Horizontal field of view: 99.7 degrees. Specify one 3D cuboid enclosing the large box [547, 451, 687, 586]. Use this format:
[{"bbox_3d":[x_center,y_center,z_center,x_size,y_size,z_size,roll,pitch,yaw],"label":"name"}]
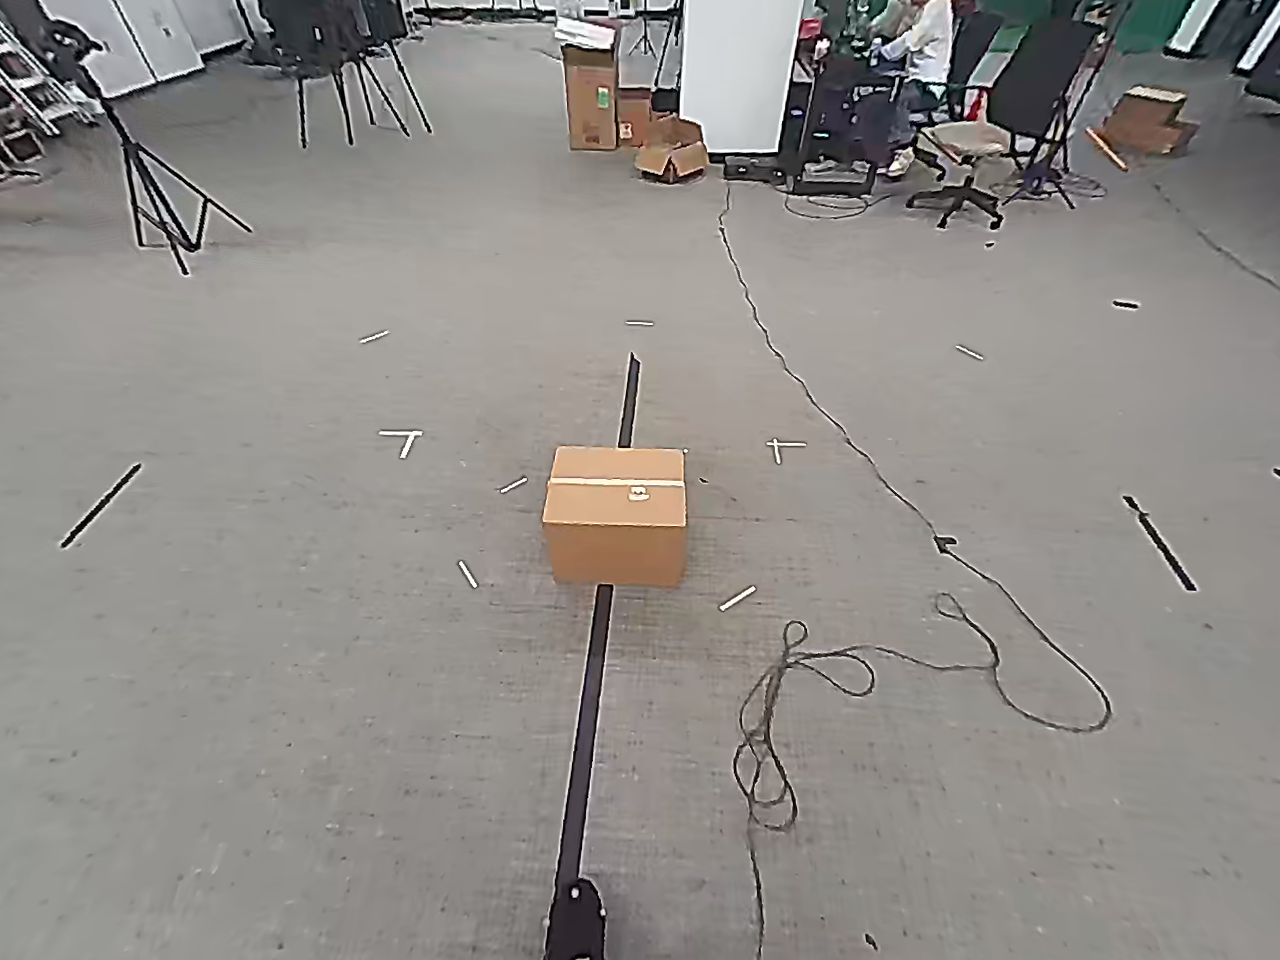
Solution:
[{"bbox_3d":[-0.066,0.125,1.721,0.408,0.320,0.320,2,47,1],"label":"large box"}]
